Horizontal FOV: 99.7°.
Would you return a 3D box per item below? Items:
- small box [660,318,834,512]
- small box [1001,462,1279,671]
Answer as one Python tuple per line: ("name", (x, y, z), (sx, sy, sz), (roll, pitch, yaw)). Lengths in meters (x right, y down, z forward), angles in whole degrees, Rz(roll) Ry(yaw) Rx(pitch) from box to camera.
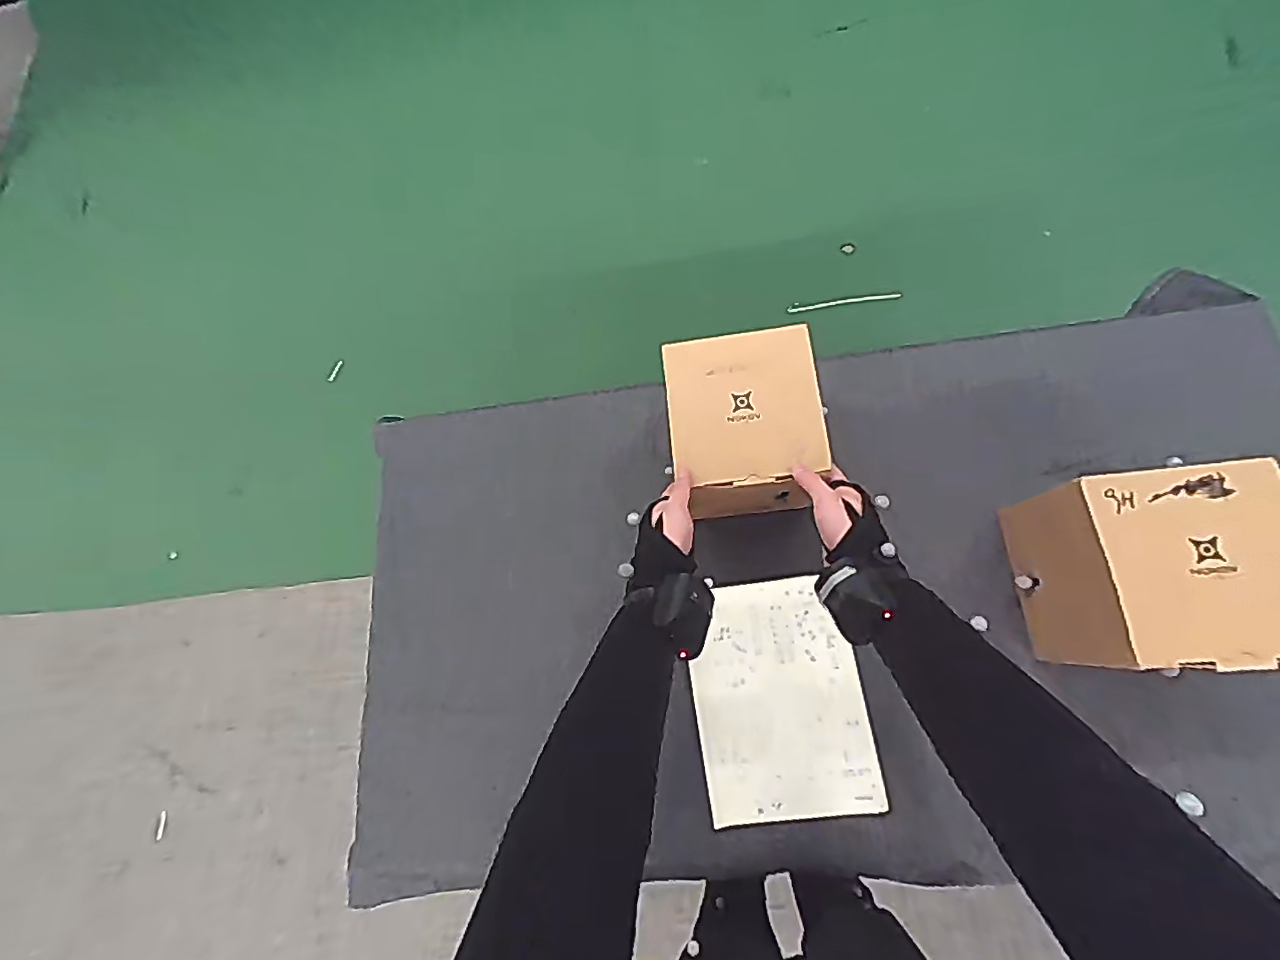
("small box", (0.121, -0.063, 0.650), (0.168, 0.176, 0.179), (-7, 74, 6))
("small box", (0.514, 0.093, 0.558), (0.168, 0.176, 0.179), (-6, 75, 7))
